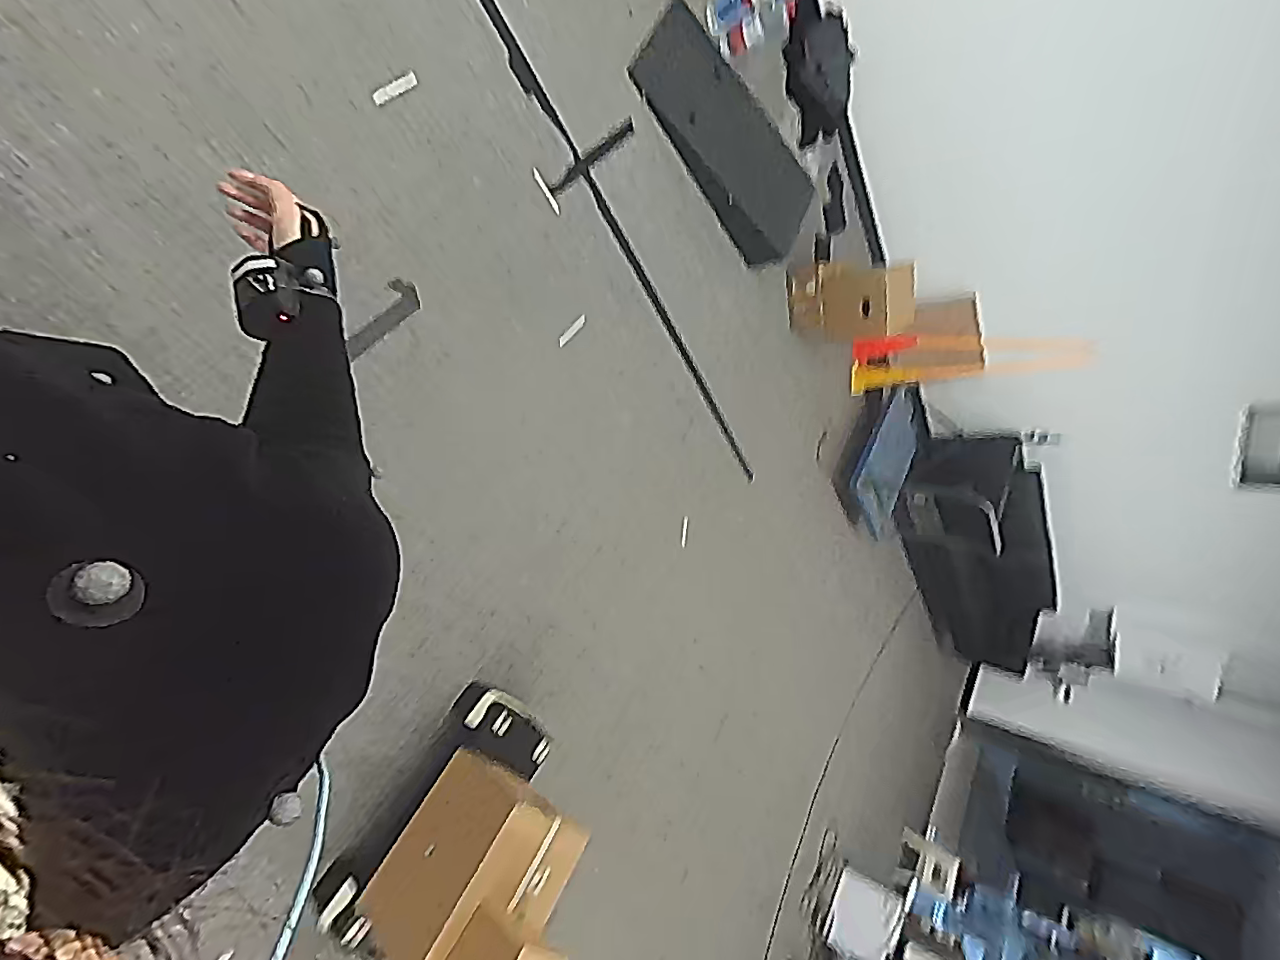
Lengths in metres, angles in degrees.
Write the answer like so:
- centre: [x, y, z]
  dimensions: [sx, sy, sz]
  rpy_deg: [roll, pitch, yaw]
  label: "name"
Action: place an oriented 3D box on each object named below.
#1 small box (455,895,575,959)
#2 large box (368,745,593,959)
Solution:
- centre: [-0.281, 1.058, 1.170]
  dimensions: [0.179, 0.176, 0.168]
  rpy_deg: [-55, 128, -27]
  label: "small box"
- centre: [-0.402, 0.983, 1.390]
  dimensions: [0.320, 0.320, 0.408]
  rpy_deg: [51, 58, -36]
  label: "large box"
